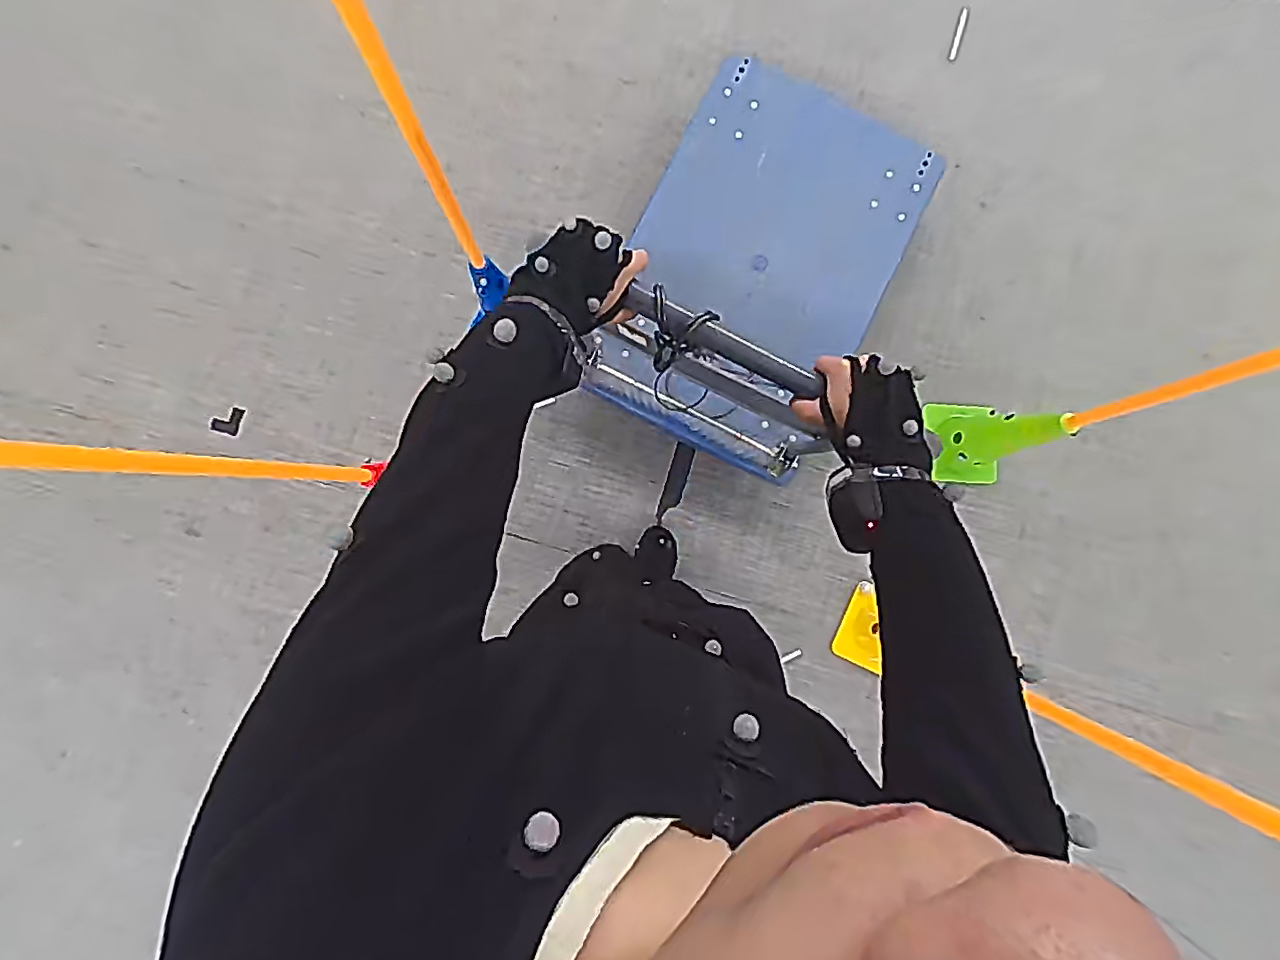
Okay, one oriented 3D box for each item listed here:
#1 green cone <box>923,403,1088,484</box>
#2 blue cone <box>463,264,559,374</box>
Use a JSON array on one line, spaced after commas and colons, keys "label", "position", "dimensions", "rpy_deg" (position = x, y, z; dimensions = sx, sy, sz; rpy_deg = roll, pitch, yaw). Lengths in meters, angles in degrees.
[{"label": "green cone", "position": [0.827, -0.100, 1.208], "dimensions": [0.200, 0.368, 0.202], "rpy_deg": [3, 88, -1]}, {"label": "blue cone", "position": [-0.318, -0.393, 1.208], "dimensions": [0.193, 0.380, 0.192], "rpy_deg": [32, 87, 0]}]
